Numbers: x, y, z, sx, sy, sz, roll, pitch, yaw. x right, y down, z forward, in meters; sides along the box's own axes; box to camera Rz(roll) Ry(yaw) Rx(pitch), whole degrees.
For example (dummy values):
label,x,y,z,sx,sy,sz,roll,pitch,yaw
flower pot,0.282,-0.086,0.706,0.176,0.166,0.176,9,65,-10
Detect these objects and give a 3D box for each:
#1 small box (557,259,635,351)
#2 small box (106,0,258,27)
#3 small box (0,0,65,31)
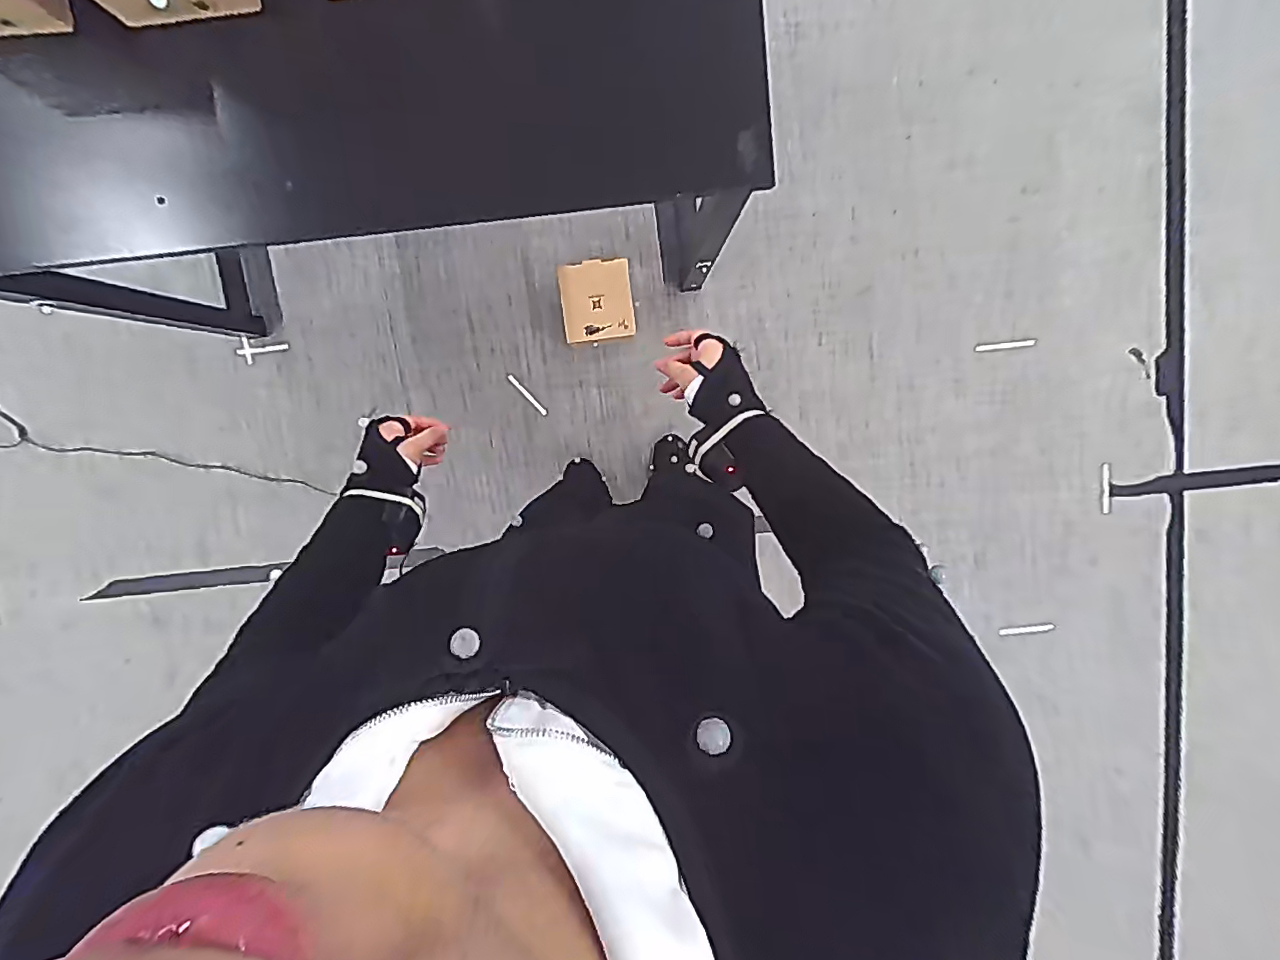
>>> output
label,x,y,z,sx,sy,sz,roll,pitch,yaw
small box,-0.103,-0.423,1.330,0.168,0.176,0.179,-7,97,1
small box,-0.547,-0.629,0.563,0.168,0.176,0.179,-7,99,0
small box,-0.770,-0.611,0.564,0.168,0.176,0.179,-4,98,-1
